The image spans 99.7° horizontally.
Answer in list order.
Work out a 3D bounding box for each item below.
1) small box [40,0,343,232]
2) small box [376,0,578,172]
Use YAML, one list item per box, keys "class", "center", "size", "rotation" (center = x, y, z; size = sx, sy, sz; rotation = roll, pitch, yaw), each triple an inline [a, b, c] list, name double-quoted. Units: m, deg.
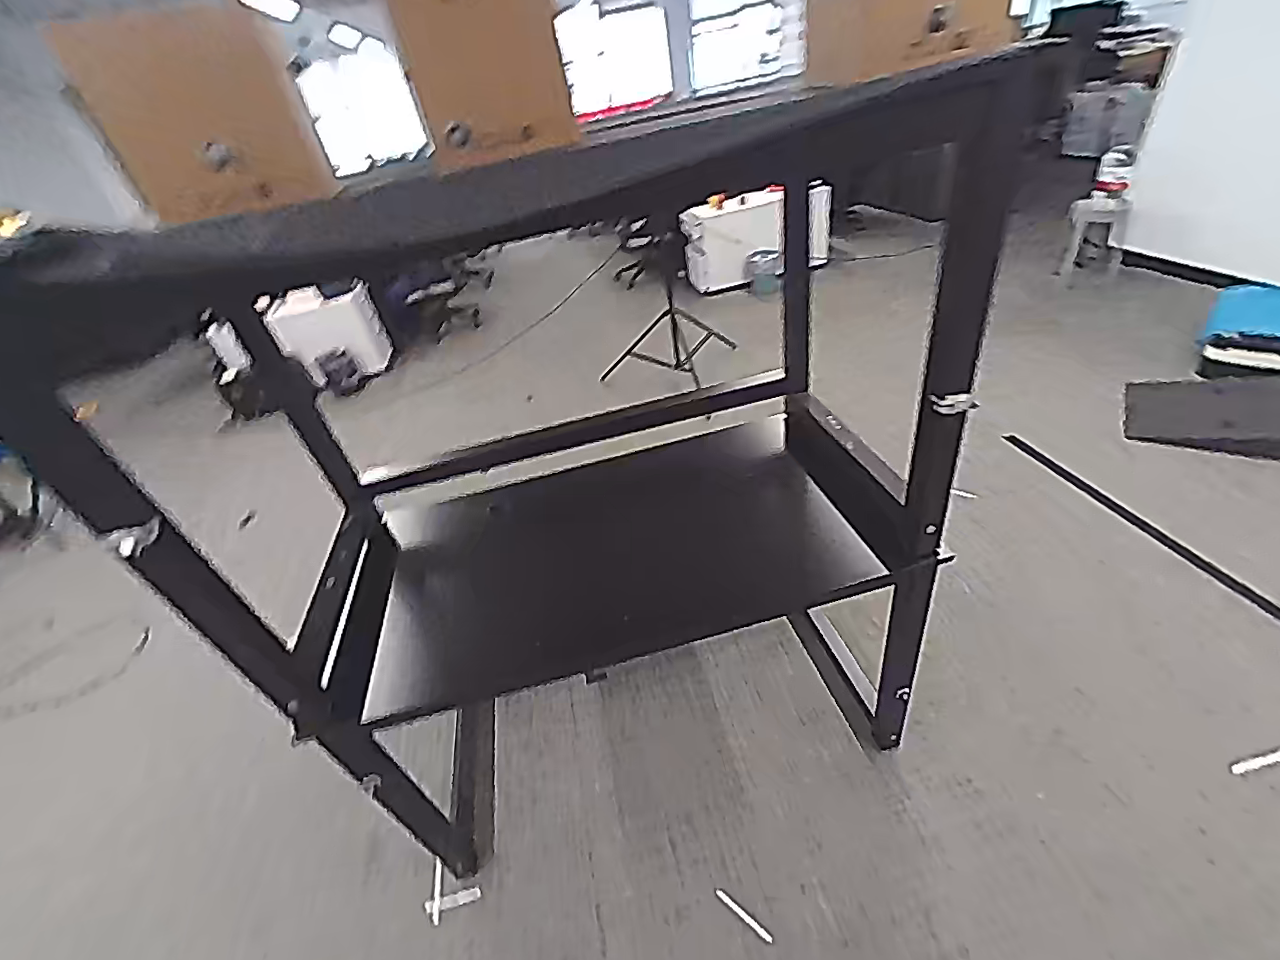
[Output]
- class: "small box"
  center: [-0.445, -0.378, 0.581]
  size: [0.168, 0.176, 0.179]
  rotation: [-21, 35, -11]
- class: "small box"
  center: [-0.175, -0.465, 0.620]
  size: [0.168, 0.176, 0.179]
  rotation: [-15, 34, -4]
